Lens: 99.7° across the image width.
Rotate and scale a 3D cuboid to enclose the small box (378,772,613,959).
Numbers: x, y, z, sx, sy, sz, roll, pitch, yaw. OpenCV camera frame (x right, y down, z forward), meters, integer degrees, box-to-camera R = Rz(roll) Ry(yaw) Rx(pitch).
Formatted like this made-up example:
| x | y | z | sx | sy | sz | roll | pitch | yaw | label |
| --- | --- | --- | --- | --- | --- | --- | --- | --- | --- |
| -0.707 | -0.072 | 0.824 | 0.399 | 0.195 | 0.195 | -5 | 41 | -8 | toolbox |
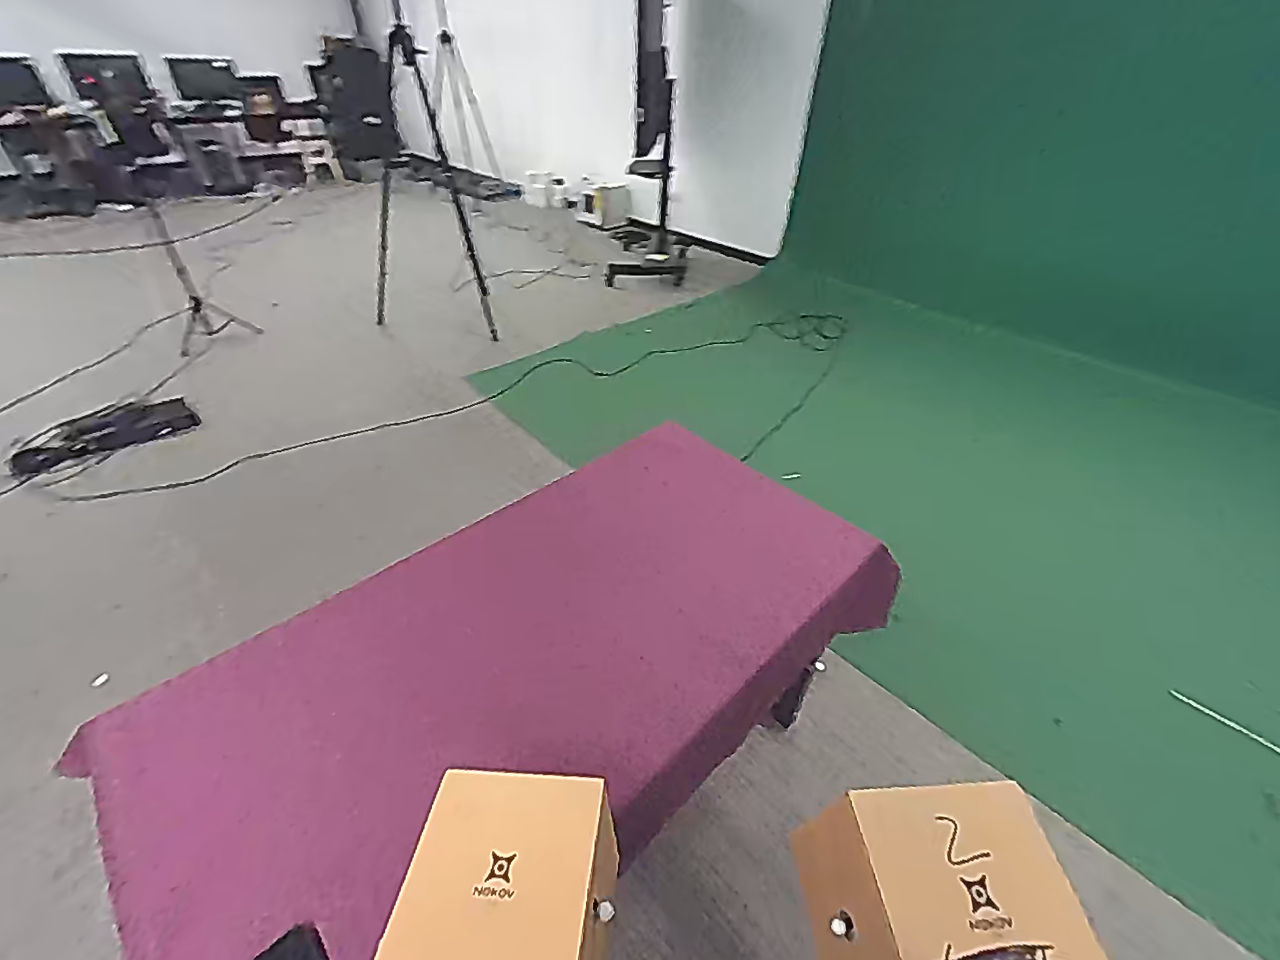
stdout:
| x | y | z | sx | sy | sz | roll | pitch | yaw | label |
| --- | --- | --- | --- | --- | --- | --- | --- | --- | --- |
| -0.120 | 0.417 | 0.524 | 0.168 | 0.176 | 0.179 | 0 | 35 | 6 | small box |
